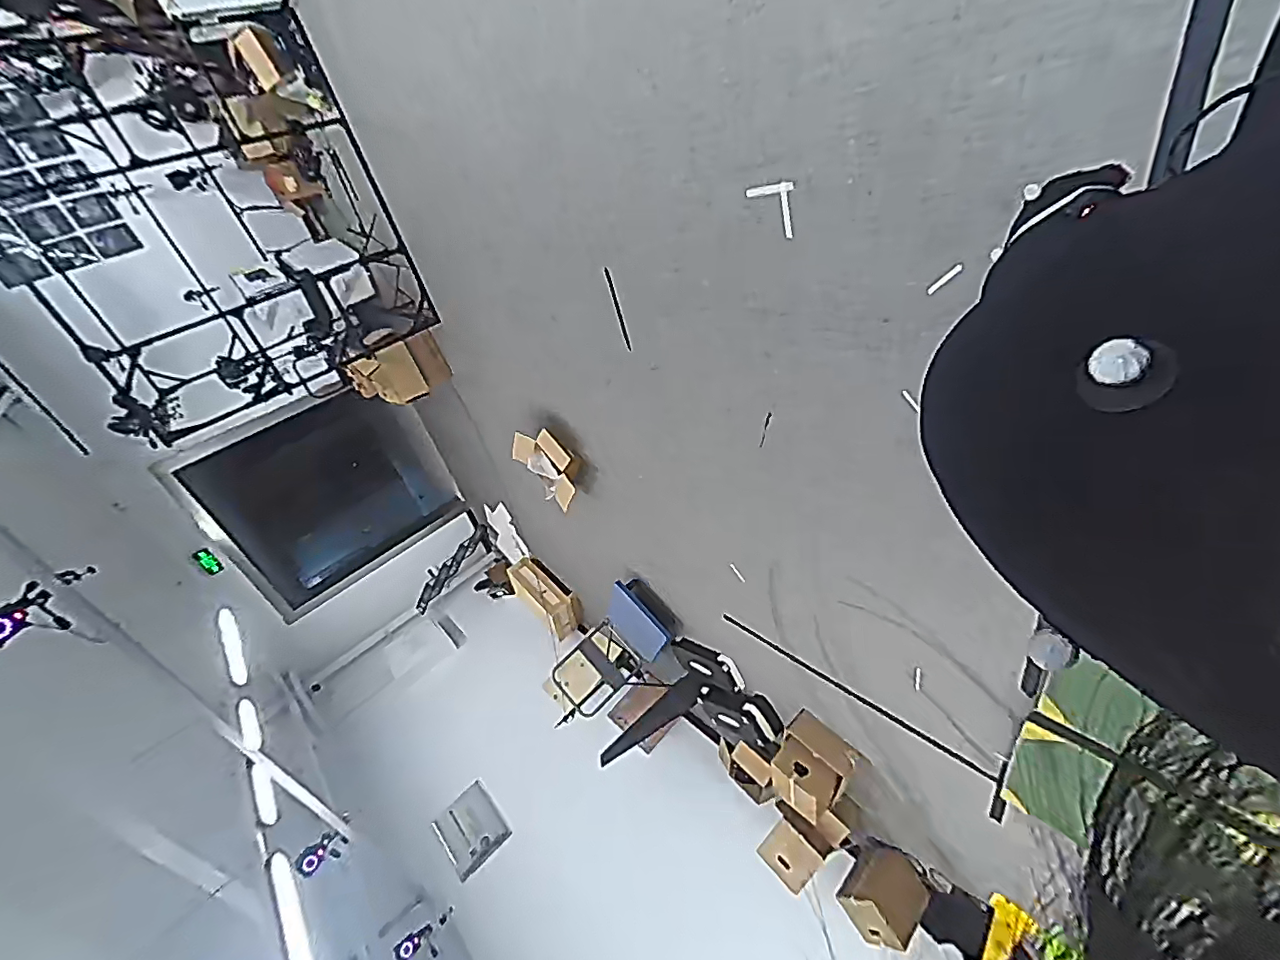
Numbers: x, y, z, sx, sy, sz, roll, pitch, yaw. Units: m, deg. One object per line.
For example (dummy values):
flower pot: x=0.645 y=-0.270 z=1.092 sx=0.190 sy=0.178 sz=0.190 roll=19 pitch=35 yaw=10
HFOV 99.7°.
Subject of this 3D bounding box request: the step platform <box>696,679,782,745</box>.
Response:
step platform: x=0.695 y=1.668 z=3.909 sx=0.286 sy=0.204 sz=0.684 roll=58 pitch=152 yaw=-8
